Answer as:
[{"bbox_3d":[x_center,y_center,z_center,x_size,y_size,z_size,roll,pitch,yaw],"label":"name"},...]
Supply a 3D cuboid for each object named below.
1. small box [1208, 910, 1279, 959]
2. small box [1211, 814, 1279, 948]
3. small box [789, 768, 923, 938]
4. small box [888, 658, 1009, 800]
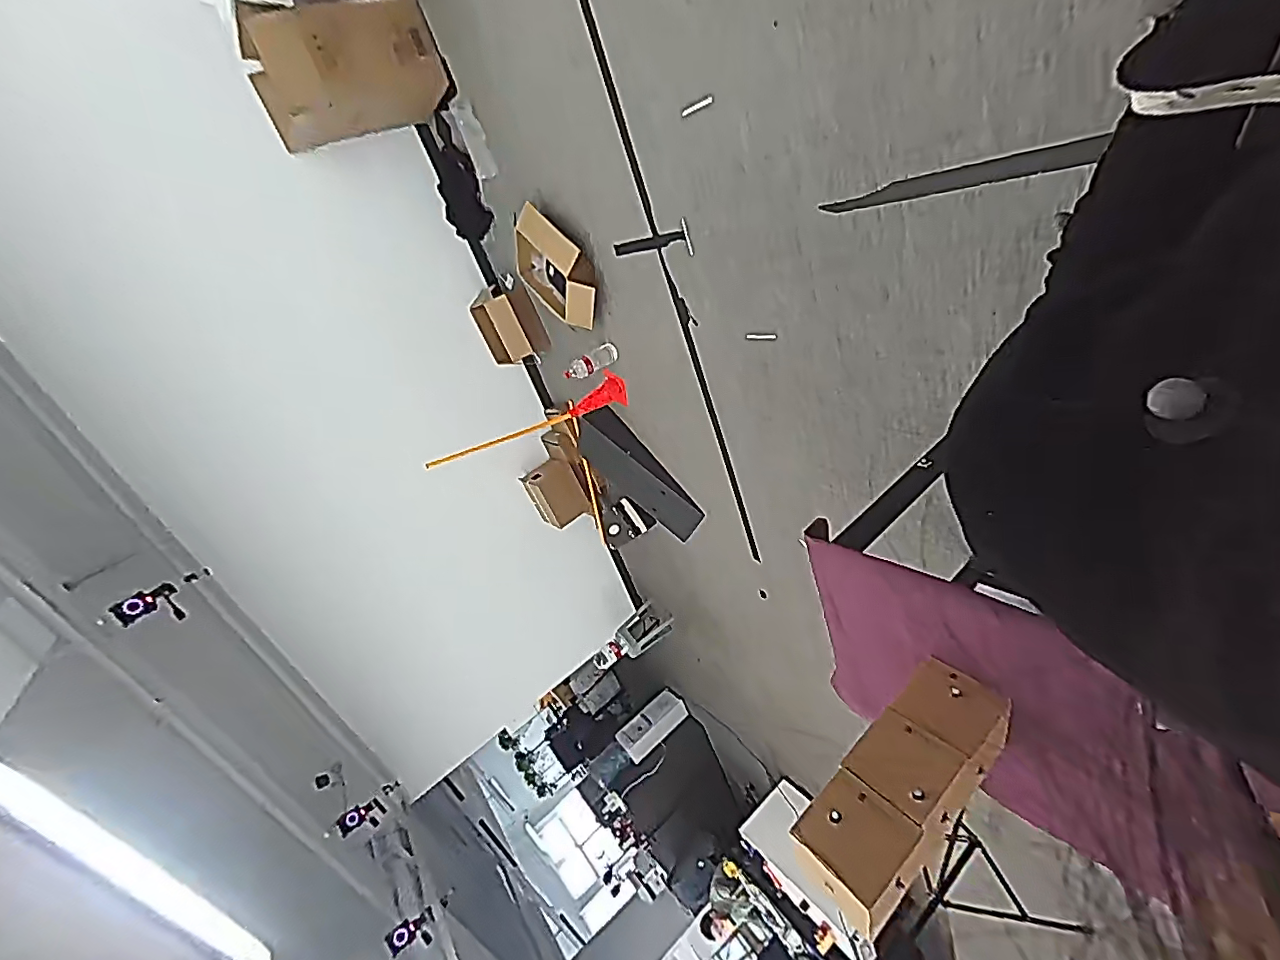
[{"bbox_3d":[0.805,0.693,0.663,0.168,0.176,0.179,24,142,51],"label":"small box"},{"bbox_3d":[0.928,0.608,0.728,0.168,0.176,0.179,23,140,52],"label":"small box"},{"bbox_3d":[0.403,0.685,1.008,0.168,0.176,0.179,29,147,48],"label":"small box"},{"bbox_3d":[0.650,0.519,1.144,0.168,0.176,0.179,26,143,48],"label":"small box"}]
